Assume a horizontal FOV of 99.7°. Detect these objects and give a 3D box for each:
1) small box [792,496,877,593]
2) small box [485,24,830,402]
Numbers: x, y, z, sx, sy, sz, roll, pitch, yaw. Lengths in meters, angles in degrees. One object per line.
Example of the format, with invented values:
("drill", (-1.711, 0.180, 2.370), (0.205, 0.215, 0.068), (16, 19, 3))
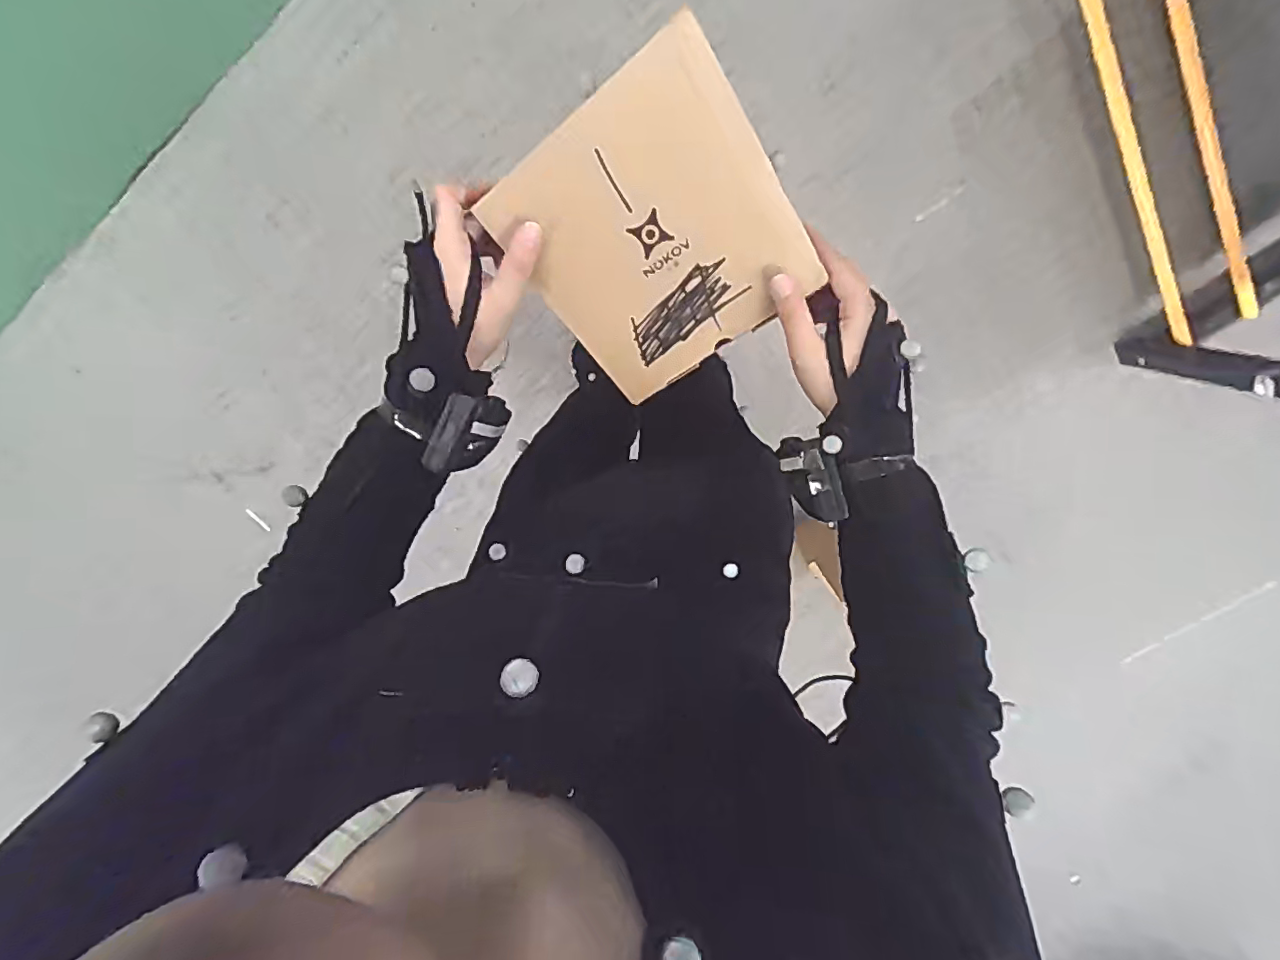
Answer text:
("small box", (0.516, 0.169, 1.361), (0.179, 0.176, 0.168), (-40, 109, 13))
("small box", (0.019, -0.199, 0.415), (0.168, 0.176, 0.179), (-29, 121, 21))
